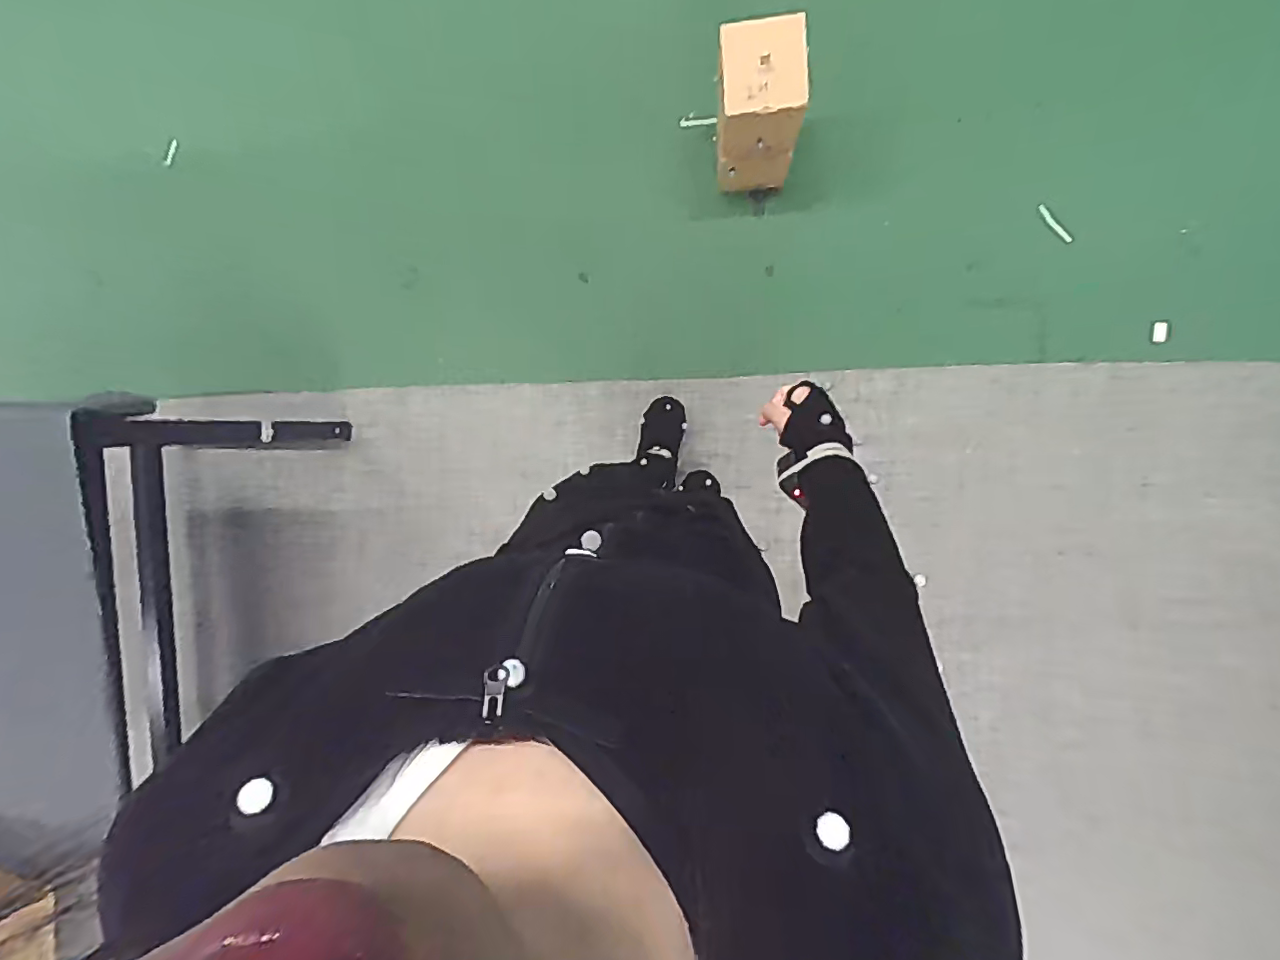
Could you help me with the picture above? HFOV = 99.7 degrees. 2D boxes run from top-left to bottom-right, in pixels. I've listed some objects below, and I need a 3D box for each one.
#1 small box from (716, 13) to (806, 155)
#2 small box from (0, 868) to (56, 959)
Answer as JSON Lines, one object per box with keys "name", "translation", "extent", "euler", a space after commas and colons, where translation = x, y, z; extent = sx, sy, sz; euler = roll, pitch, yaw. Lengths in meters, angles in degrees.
{"name": "small box", "translation": [0.251, -0.830, 1.149], "extent": [0.168, 0.176, 0.179], "euler": [-3, 95, 7]}
{"name": "small box", "translation": [-1.113, 0.775, 0.879], "extent": [0.179, 0.176, 0.168], "euler": [6, 96, 7]}
